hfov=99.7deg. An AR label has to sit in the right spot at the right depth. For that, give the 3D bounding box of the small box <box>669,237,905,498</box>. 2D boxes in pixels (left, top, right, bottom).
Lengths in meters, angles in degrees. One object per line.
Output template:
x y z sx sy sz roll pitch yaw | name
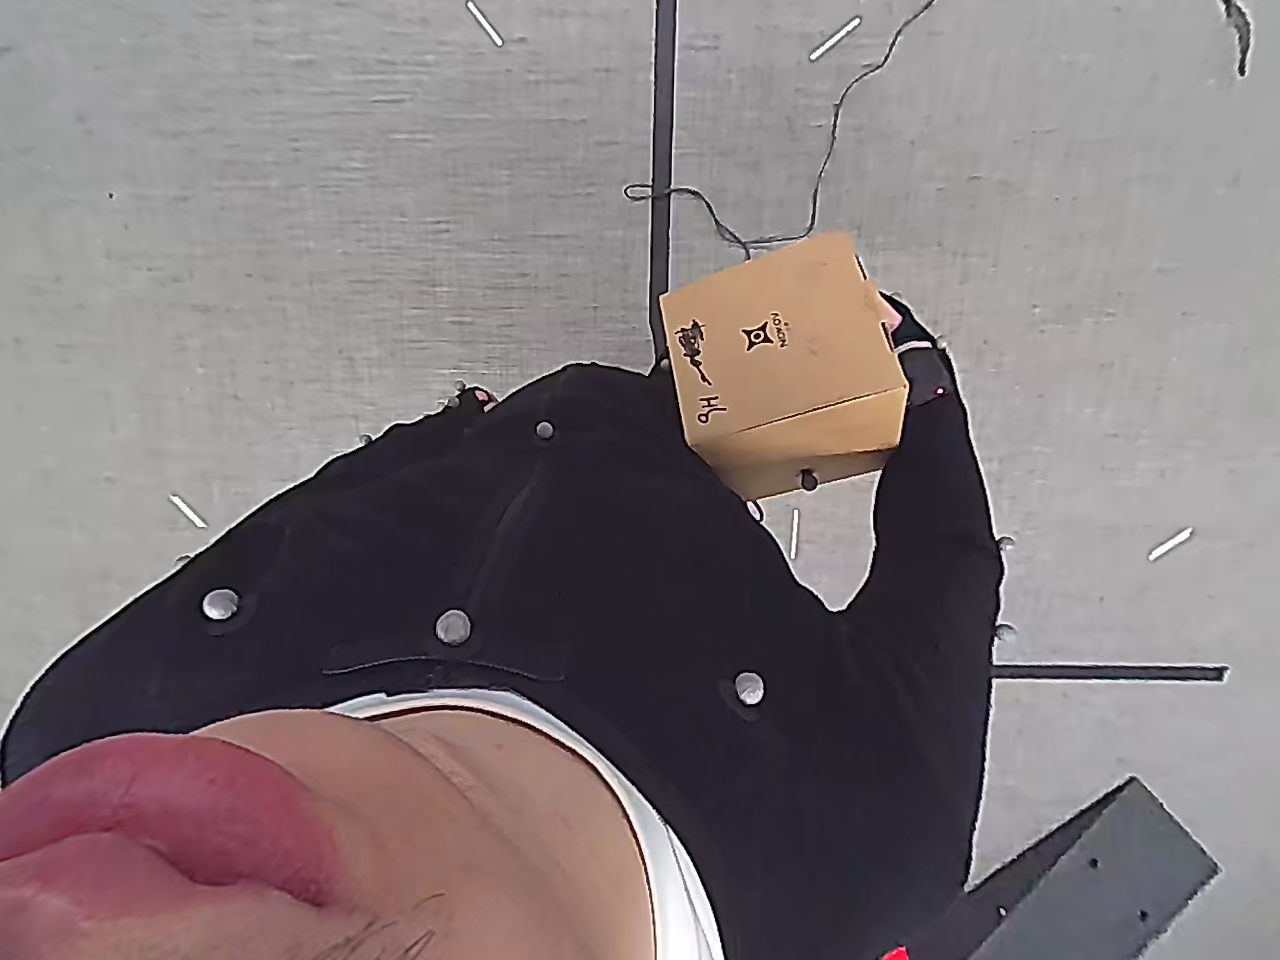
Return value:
0.143 -0.097 0.543 0.179 0.176 0.168 -15 64 16 | small box
